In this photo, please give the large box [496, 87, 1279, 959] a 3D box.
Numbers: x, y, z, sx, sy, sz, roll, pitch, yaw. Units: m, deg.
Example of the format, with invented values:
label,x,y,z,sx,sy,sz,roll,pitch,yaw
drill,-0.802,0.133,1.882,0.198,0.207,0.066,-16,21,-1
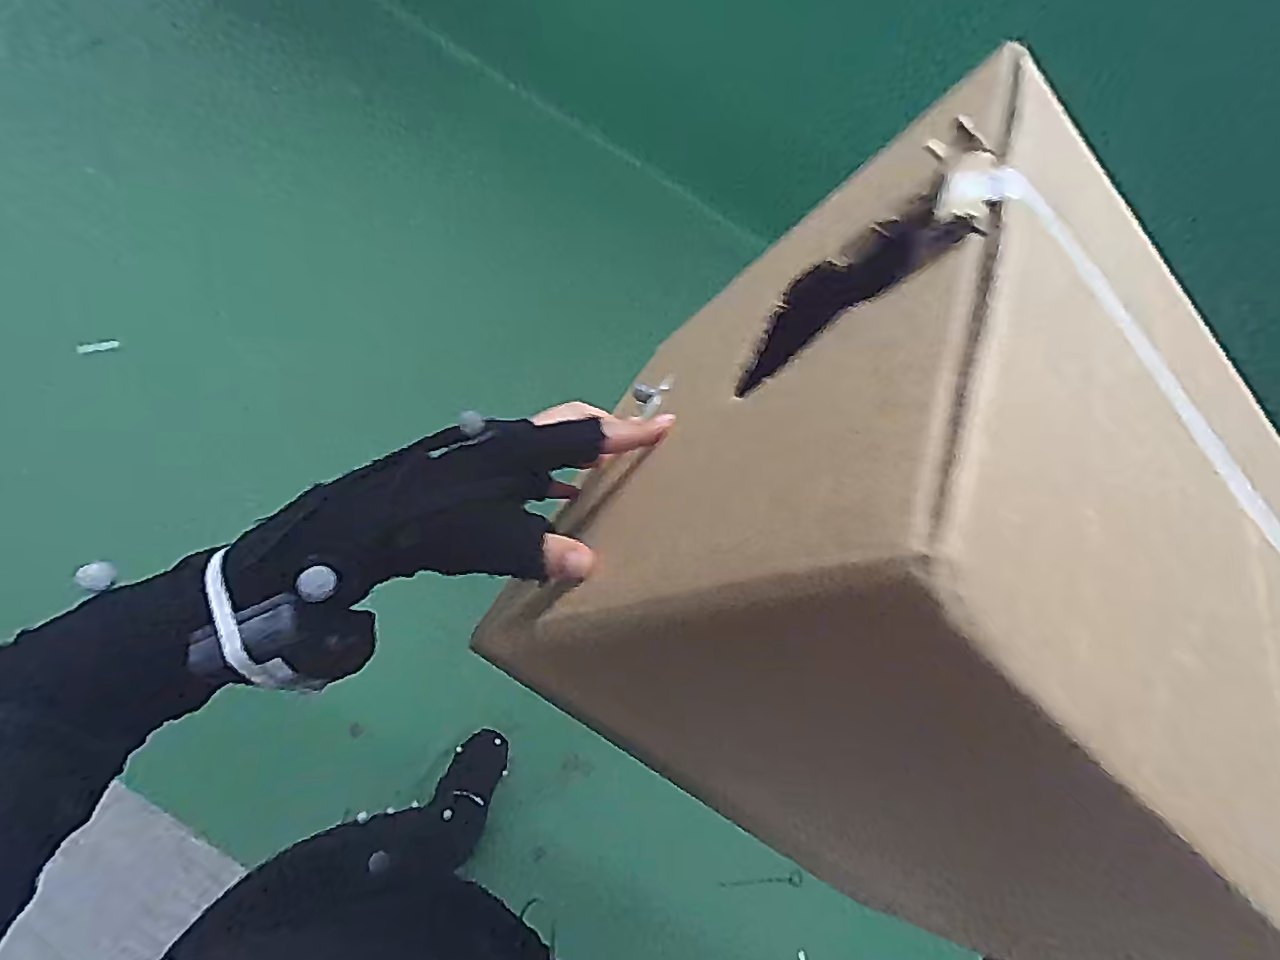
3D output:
label,x,y,z,sx,sy,sz,roll,pitch,yaw
large box,0.186,0.070,0.366,0.408,0.320,0.320,41,57,-15
